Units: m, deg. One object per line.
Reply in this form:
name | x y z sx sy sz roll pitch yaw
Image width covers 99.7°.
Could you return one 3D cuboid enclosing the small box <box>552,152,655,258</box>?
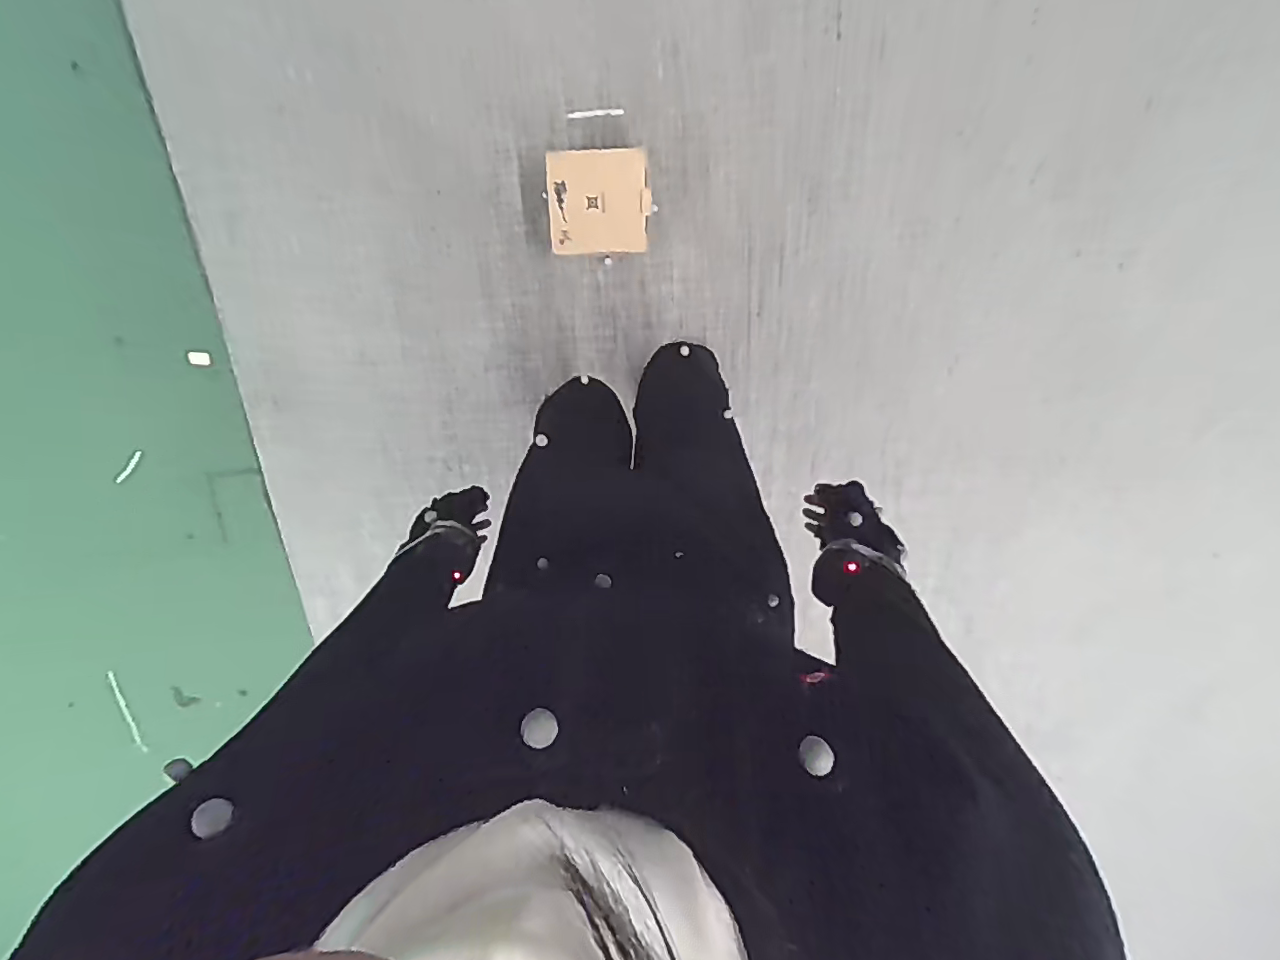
small box | -0.062 -0.516 1.030 0.179 0.176 0.168 1 111 4
